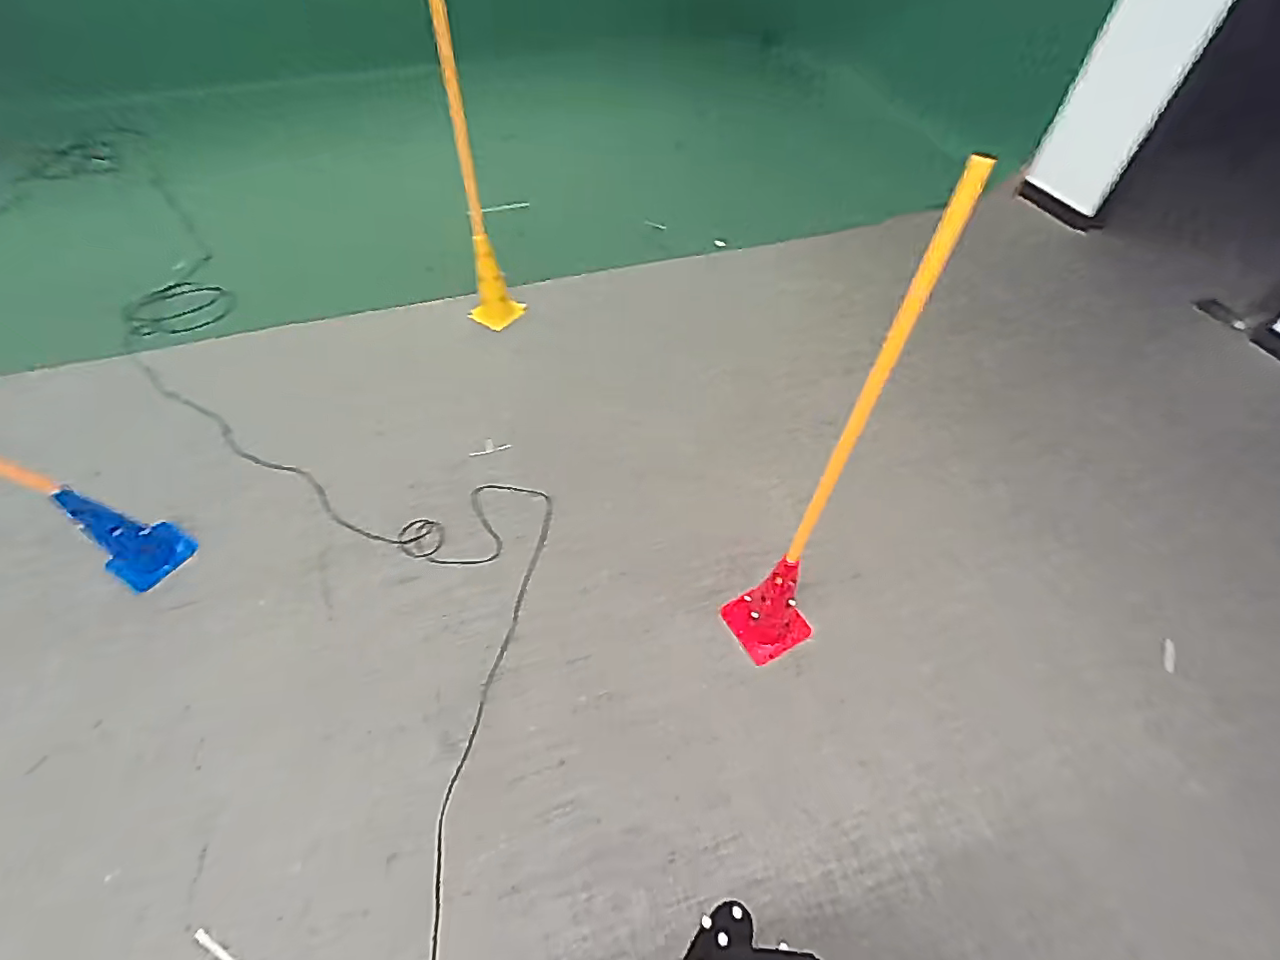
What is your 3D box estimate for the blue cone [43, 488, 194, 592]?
[{"bbox_3d":[-1.508,0.146,1.538,0.192,0.380,0.193,24,58,17],"label":"blue cone"}]
